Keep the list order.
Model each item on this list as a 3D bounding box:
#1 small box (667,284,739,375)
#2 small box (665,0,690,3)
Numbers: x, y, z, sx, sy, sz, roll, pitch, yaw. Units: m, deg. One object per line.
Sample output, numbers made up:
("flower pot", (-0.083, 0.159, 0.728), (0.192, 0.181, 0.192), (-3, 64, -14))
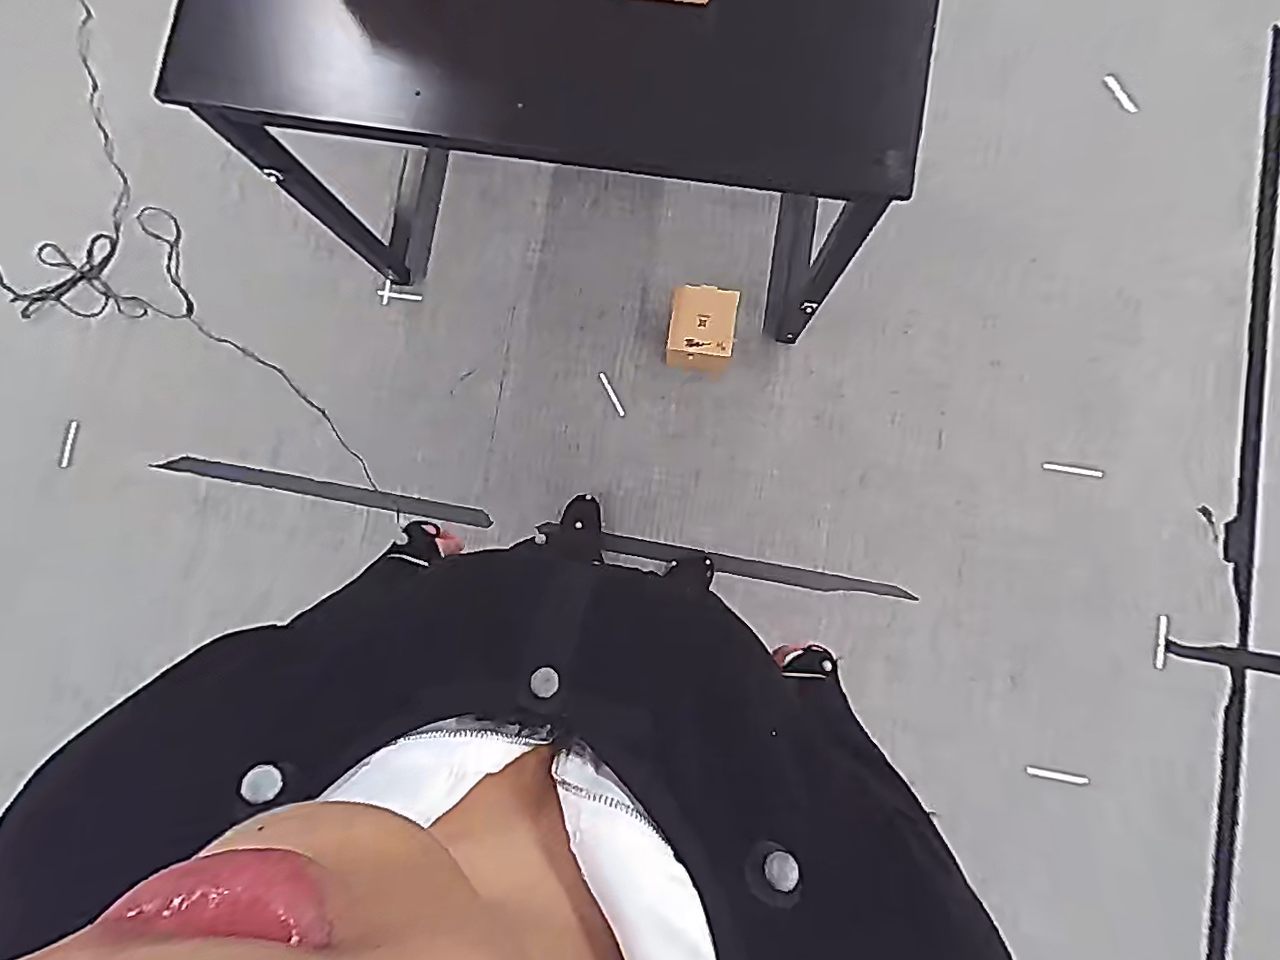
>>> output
("small box", (0.165, -0.400, 1.458), (0.168, 0.176, 0.179), (9, 85, 4))
("small box", (0.027, -0.837, 0.772), (0.179, 0.176, 0.168), (9, 85, 5))
